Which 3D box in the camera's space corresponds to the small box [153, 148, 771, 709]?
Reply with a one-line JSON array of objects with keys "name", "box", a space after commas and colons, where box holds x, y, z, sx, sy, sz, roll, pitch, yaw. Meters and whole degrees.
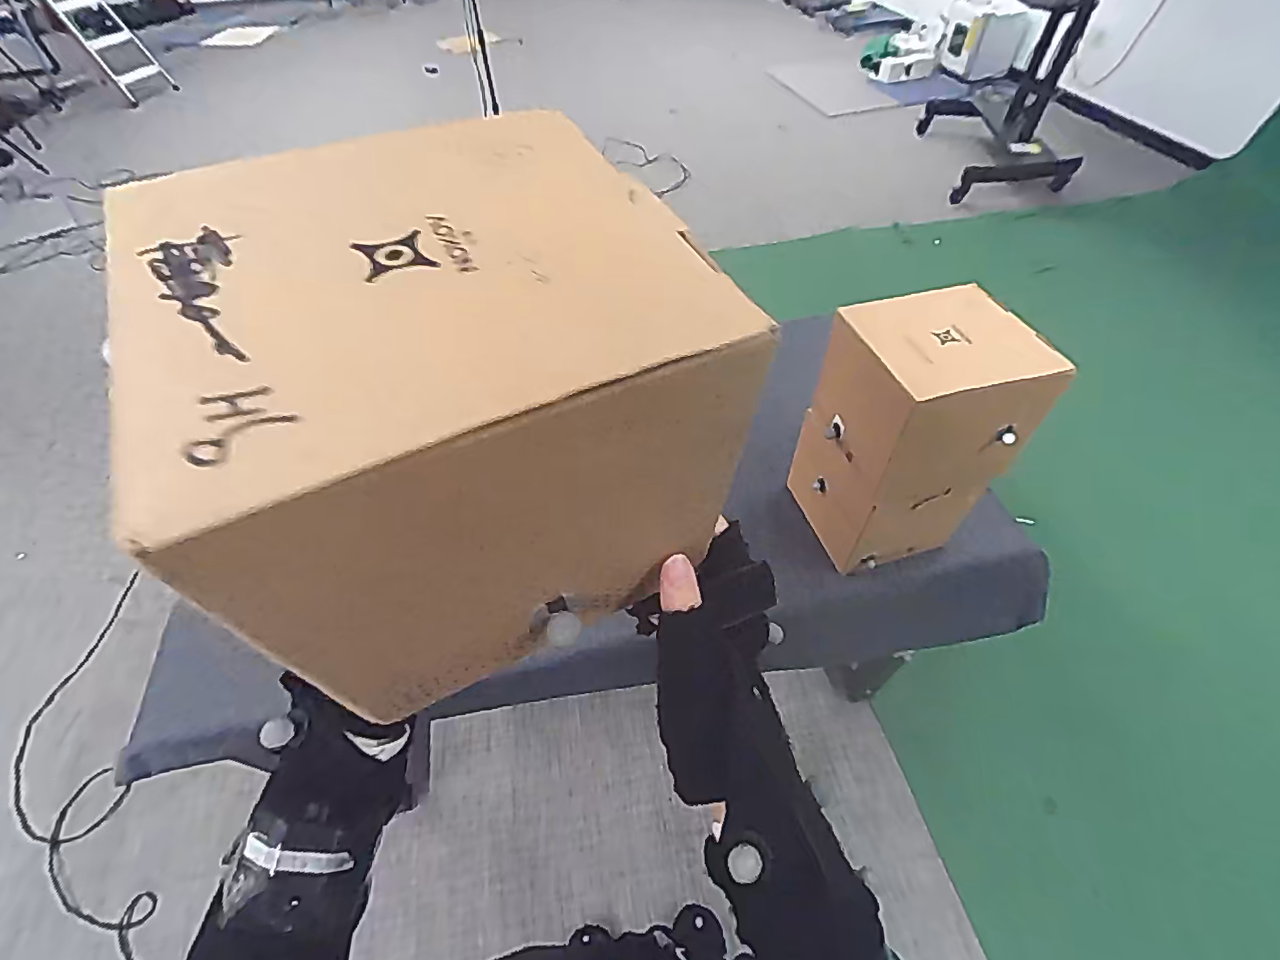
[{"name": "small box", "box": [-0.074, -0.023, 0.256, 0.179, 0.176, 0.168, -22, 58, -21]}]

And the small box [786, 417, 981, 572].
[{"name": "small box", "box": [0.329, 0.012, 0.771, 0.168, 0.176, 0.179, -13, 50, -9]}]

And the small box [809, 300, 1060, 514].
[{"name": "small box", "box": [0.324, -0.084, 0.641, 0.179, 0.176, 0.168, -13, 49, -6]}]
